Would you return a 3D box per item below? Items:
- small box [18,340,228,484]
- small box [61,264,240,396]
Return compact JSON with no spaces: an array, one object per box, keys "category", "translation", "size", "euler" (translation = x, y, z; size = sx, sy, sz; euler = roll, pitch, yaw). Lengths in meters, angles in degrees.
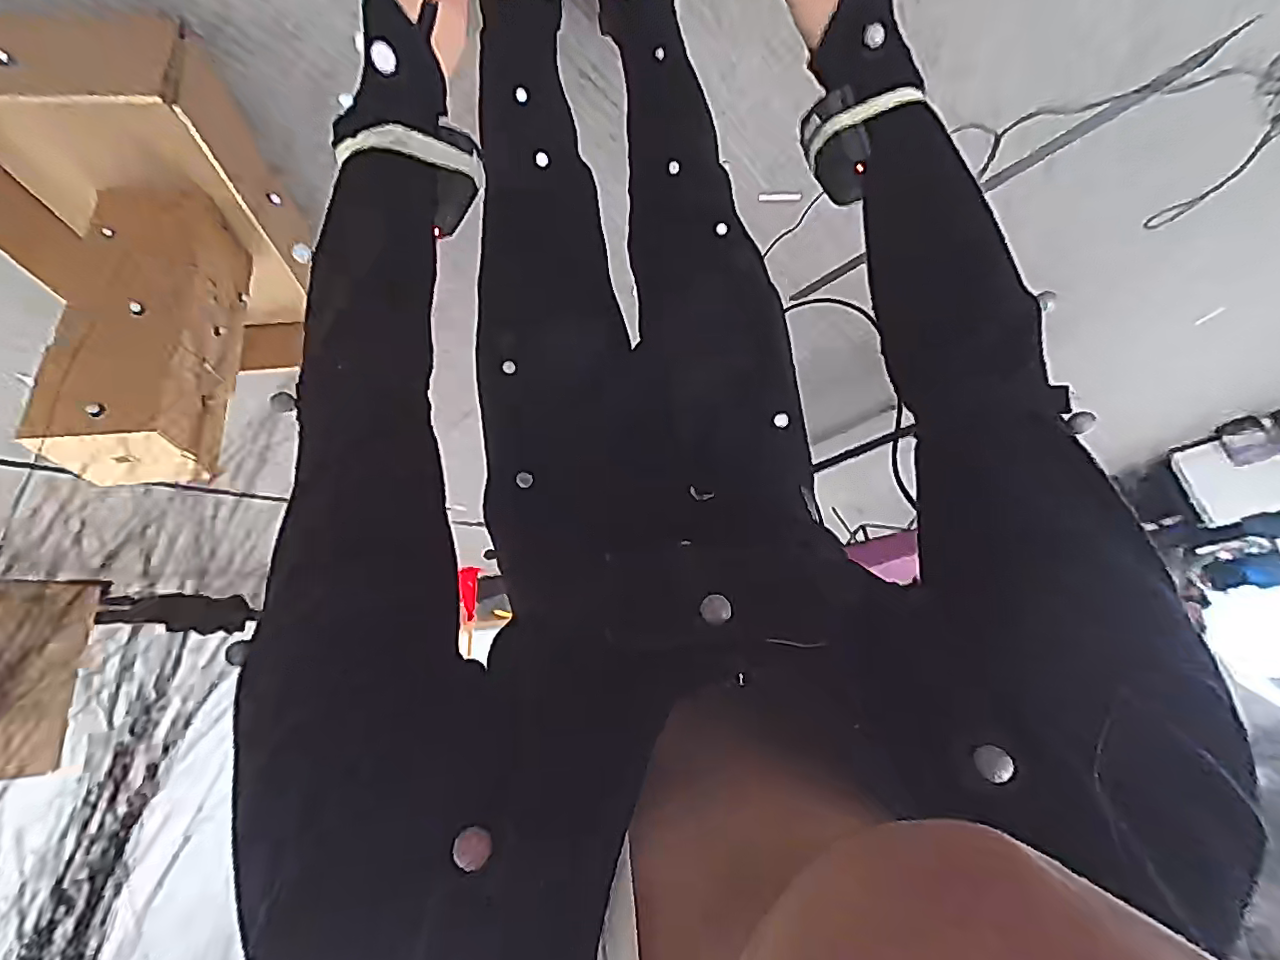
[{"category":"small box","translation":[-0.810,-0.109,0.873],"size":[0.179,0.176,0.168],"euler":[-6,157,-12]},{"category":"small box","translation":[-0.831,-0.256,0.942],"size":[0.179,0.176,0.168],"euler":[-6,157,-13]}]
